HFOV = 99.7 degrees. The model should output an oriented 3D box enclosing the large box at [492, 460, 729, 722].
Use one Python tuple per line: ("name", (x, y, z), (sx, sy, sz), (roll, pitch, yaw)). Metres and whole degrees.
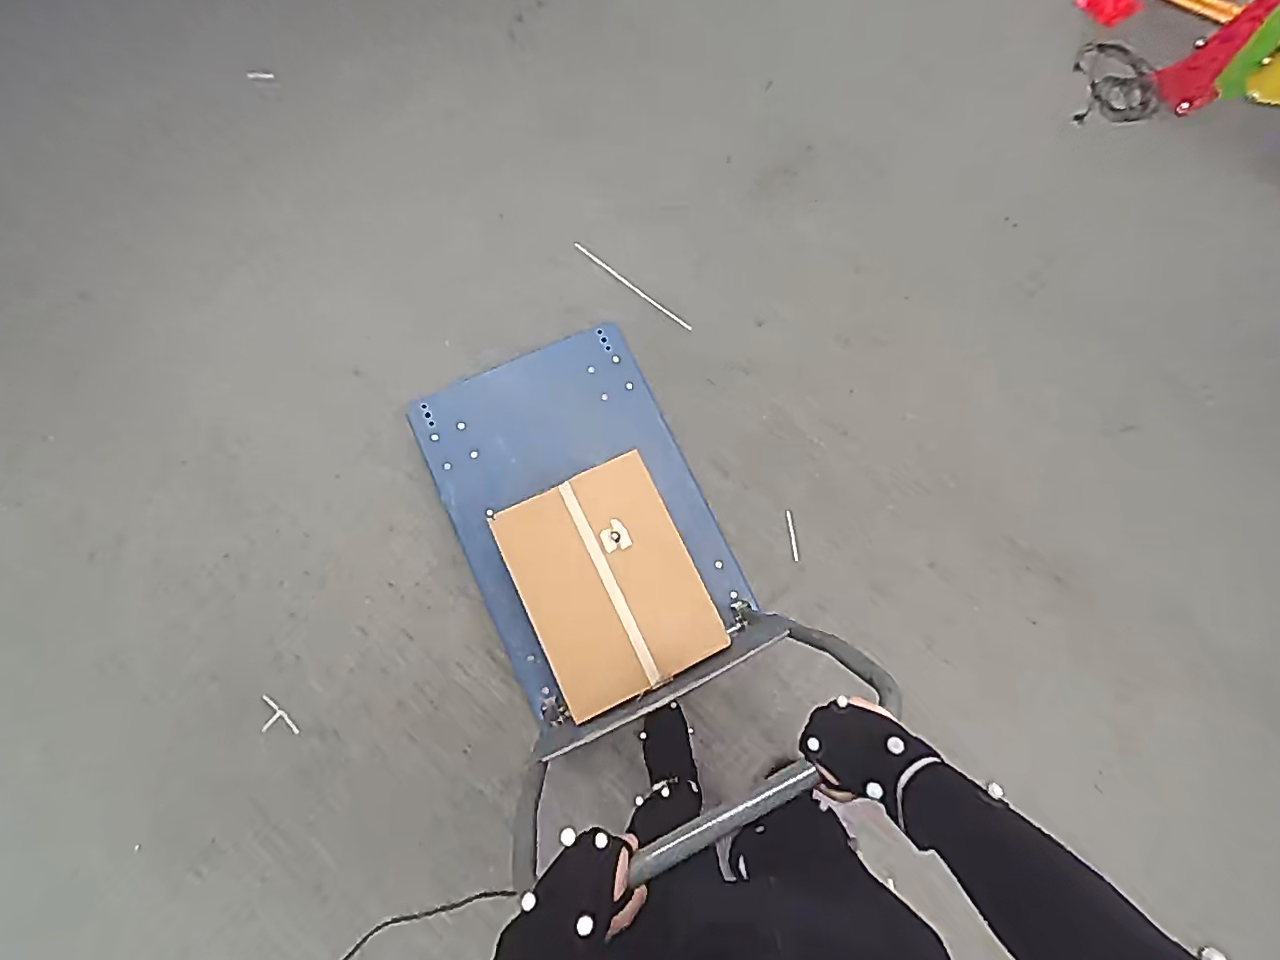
("large box", (-0.061, 0.226, 1.157), (0.320, 0.320, 0.408), (-26, 80, -7))
